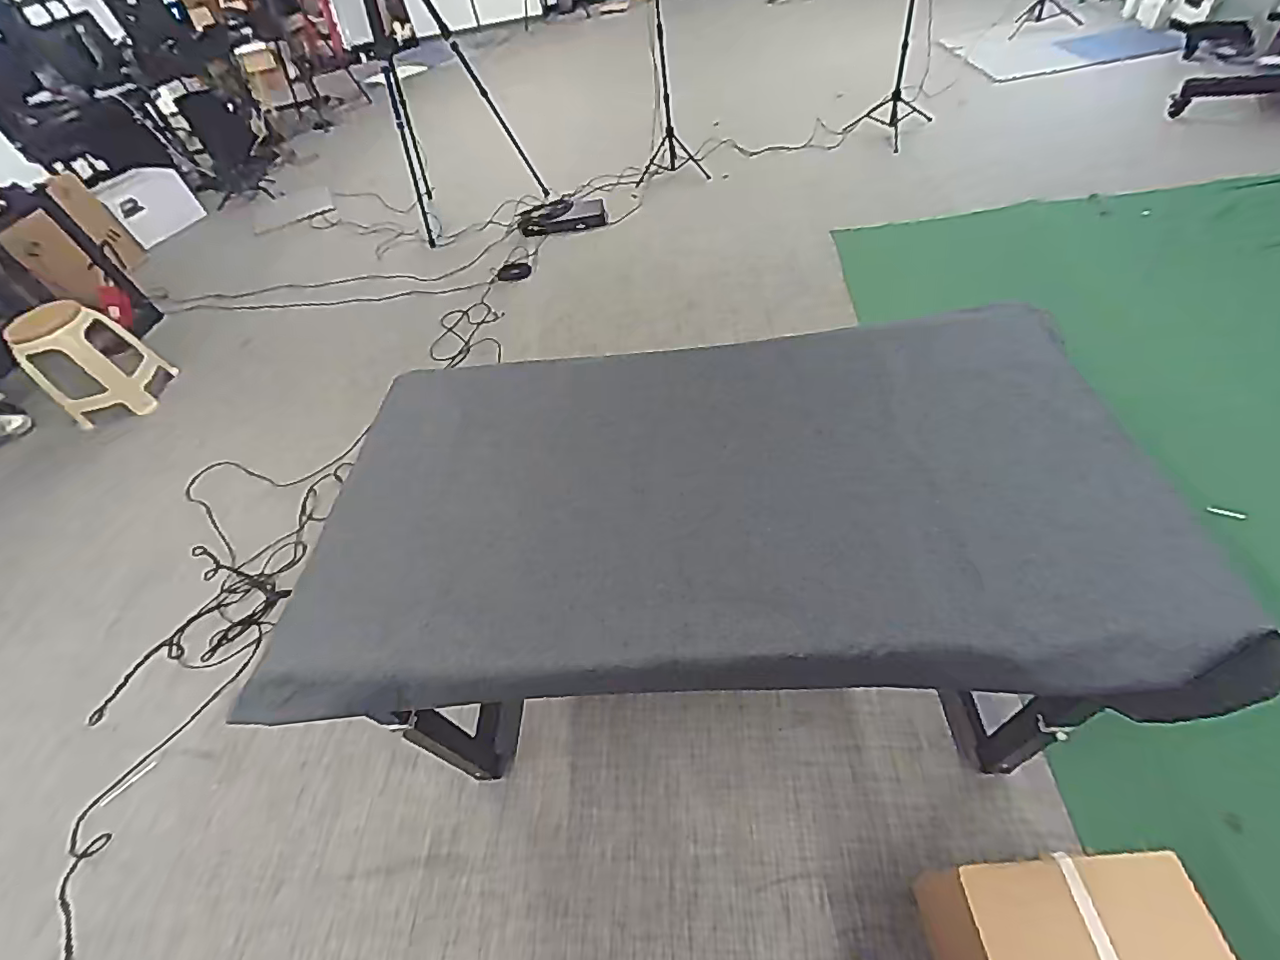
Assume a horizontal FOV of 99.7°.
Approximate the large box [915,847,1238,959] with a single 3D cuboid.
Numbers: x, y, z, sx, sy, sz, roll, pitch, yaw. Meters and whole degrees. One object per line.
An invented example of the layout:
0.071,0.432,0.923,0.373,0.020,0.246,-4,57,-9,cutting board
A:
0.665,0.804,0.792,0.320,0.320,0.408,-8,50,5,large box
